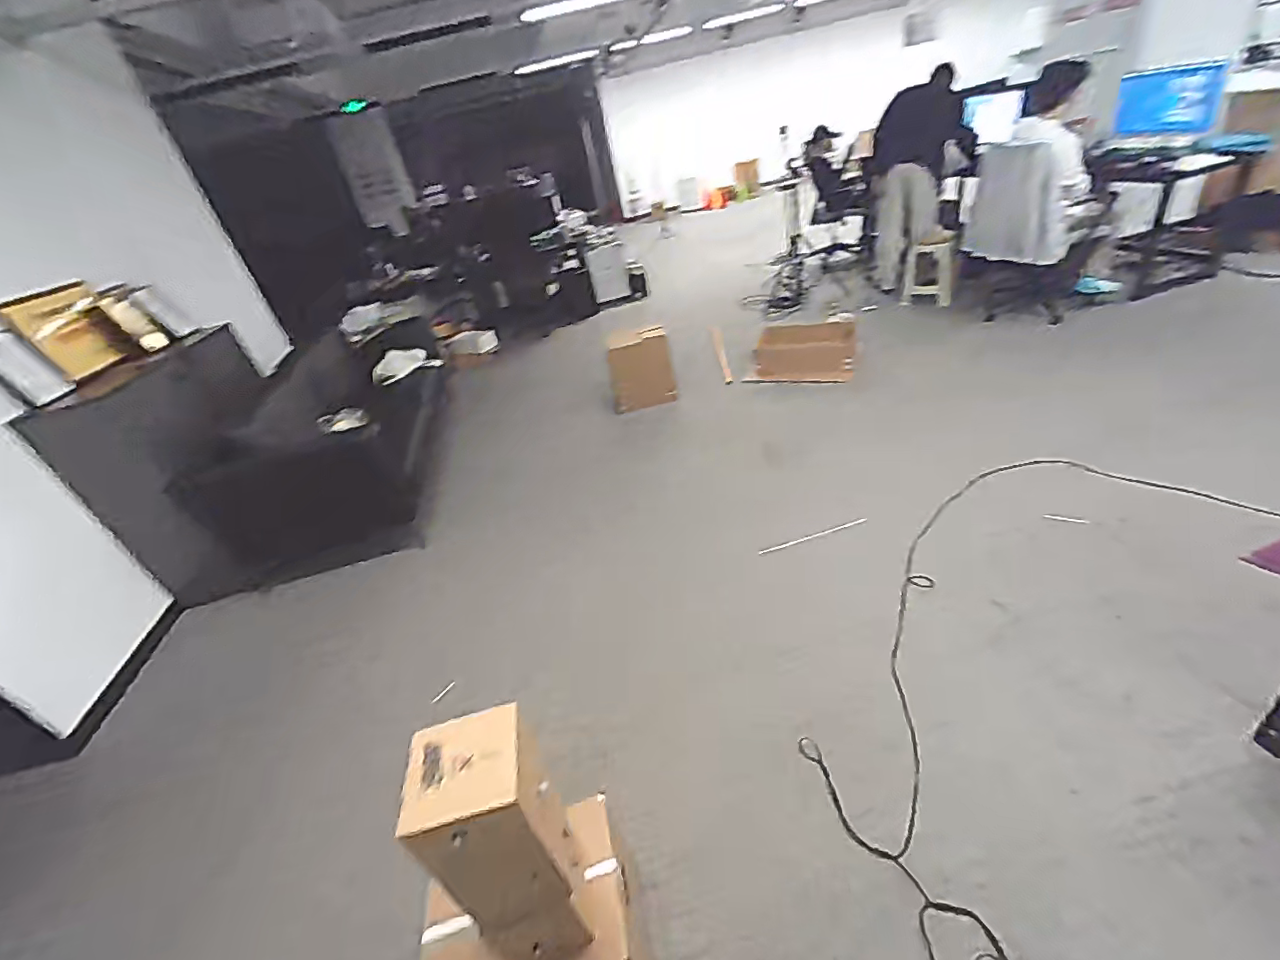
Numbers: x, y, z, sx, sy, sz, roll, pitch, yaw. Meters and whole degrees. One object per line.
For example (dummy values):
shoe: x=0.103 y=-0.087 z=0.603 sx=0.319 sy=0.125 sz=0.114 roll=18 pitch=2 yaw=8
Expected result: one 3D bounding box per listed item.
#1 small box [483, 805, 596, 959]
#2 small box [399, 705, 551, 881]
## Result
small box: x=-0.195 y=0.777 z=1.040 sx=0.168 sy=0.176 sz=0.179 roll=-18 pitch=34 yaw=-6
small box: x=-0.253 y=0.502 z=0.868 sx=0.179 sy=0.176 sz=0.168 roll=-15 pitch=33 yaw=-4
